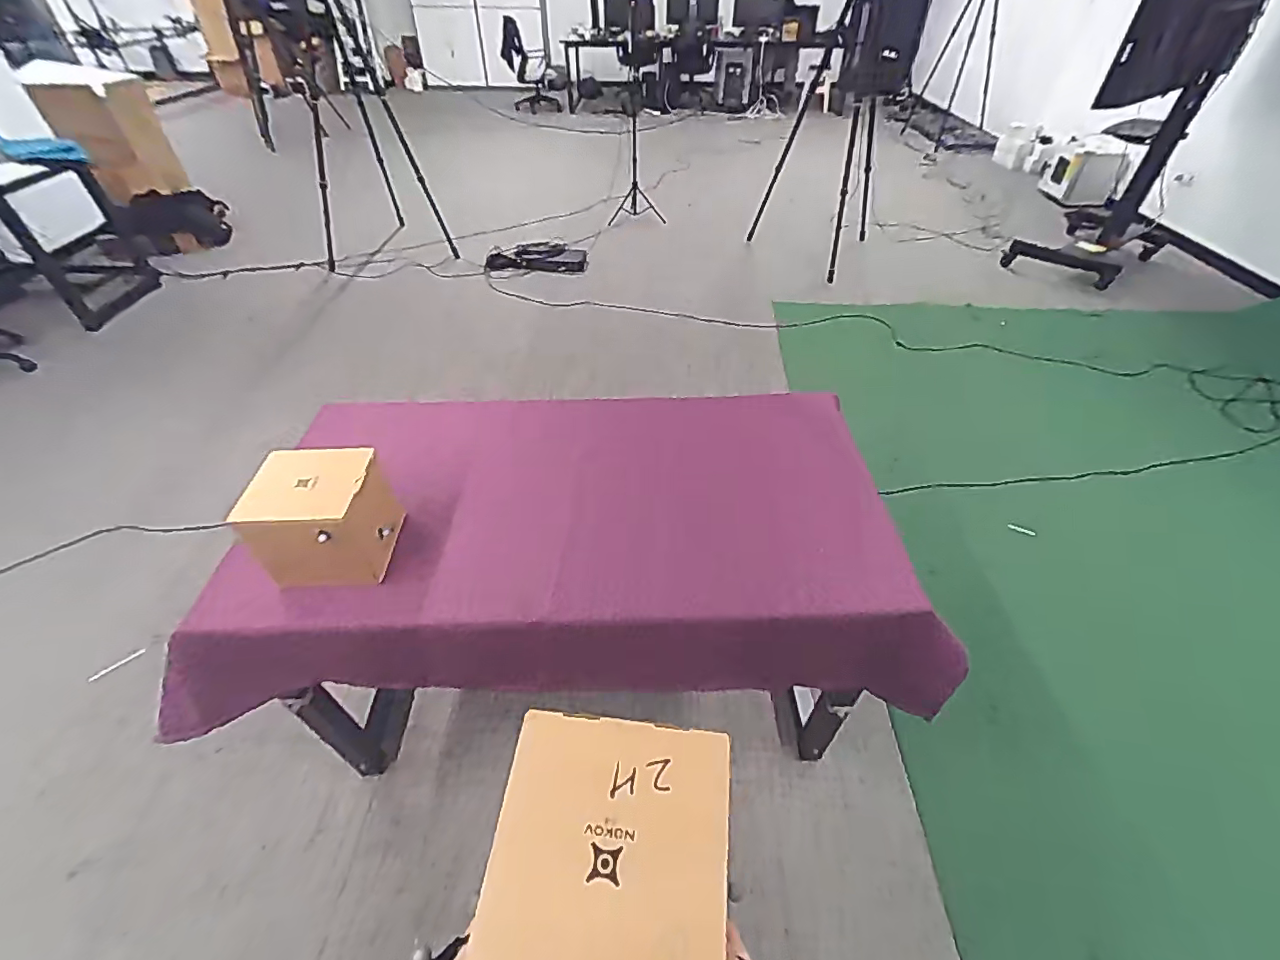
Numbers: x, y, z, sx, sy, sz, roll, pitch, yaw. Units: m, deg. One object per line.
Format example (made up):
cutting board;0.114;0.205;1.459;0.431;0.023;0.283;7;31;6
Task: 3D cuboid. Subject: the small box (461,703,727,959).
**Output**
small box;-0.019;0.308;0.442;0.168;0.176;0.179;4;49;7

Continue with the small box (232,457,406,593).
small box;-0.527;0.079;0.920;0.179;0.176;0.168;-2;43;-3
